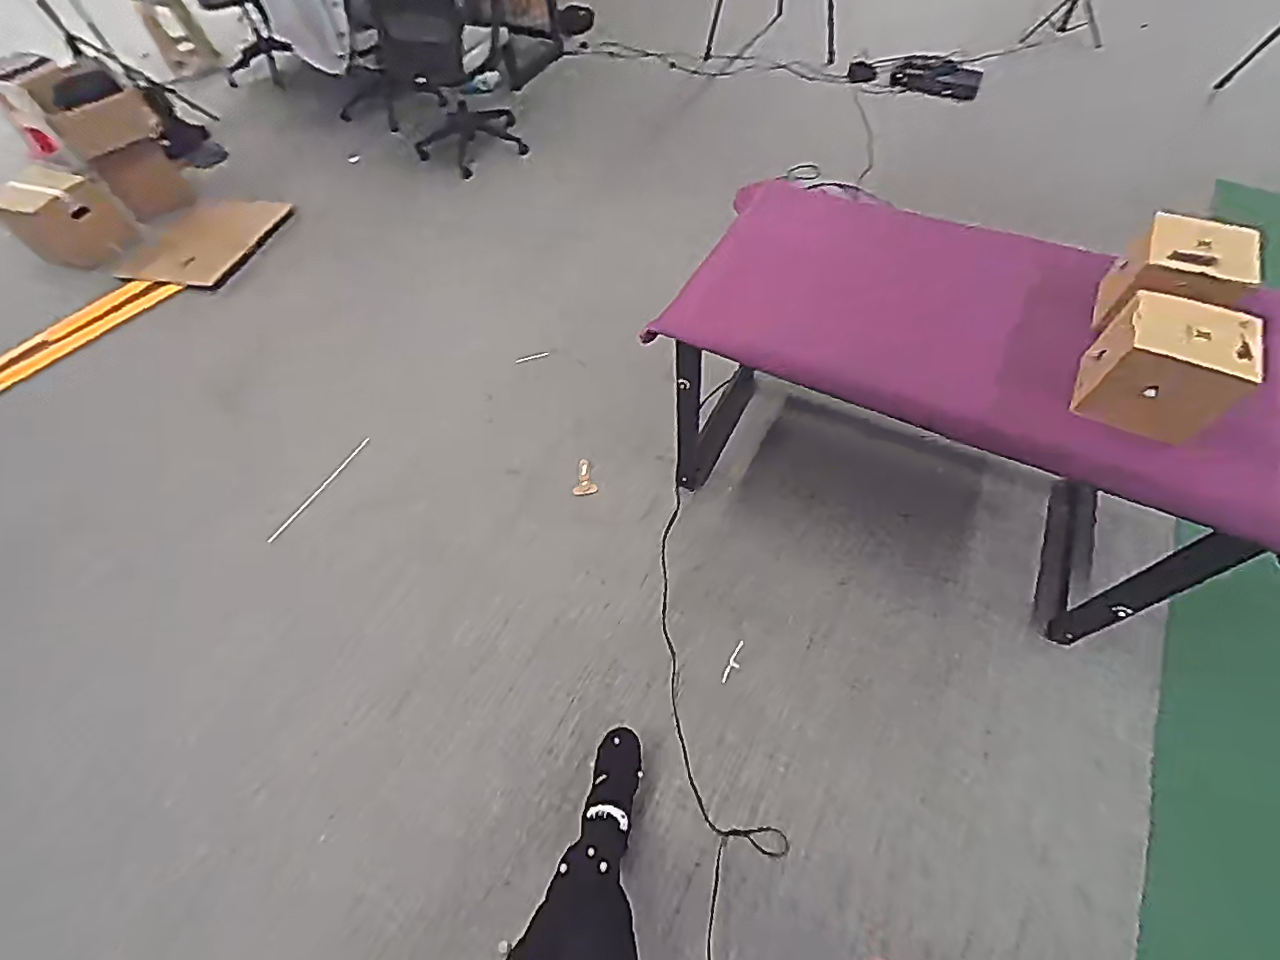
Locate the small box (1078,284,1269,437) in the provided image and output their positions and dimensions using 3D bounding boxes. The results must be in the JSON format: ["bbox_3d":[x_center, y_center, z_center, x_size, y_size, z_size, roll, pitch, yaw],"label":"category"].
[{"bbox_3d":[0.902,-0.201,0.928,0.179,0.176,0.168,25,62,20],"label":"small box"}]

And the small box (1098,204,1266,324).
[{"bbox_3d":[1.027,-0.390,1.037,0.168,0.176,0.179,23,62,19],"label":"small box"}]
